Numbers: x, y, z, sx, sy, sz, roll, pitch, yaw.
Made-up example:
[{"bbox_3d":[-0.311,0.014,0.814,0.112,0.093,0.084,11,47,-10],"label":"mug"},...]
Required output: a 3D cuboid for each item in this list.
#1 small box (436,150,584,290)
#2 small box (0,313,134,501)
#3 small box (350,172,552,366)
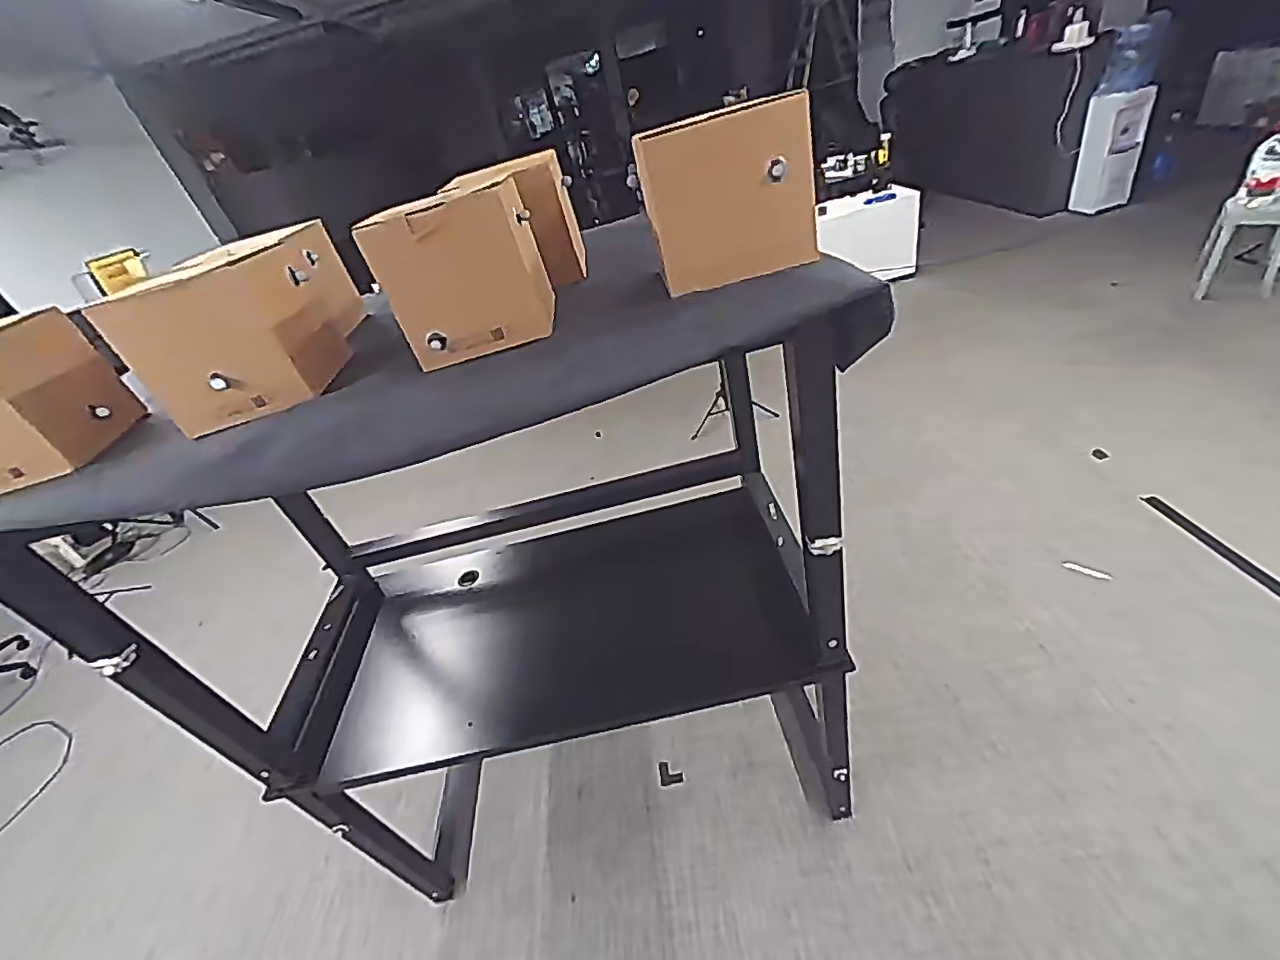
[{"bbox_3d":[-0.191,-0.396,0.849,0.168,0.176,0.179,-15,37,4],"label":"small box"},{"bbox_3d":[-0.811,-0.086,0.684,0.168,0.176,0.179,-18,36,-3],"label":"small box"},{"bbox_3d":[-0.213,-0.257,0.668,0.168,0.176,0.179,-16,34,3],"label":"small box"}]
